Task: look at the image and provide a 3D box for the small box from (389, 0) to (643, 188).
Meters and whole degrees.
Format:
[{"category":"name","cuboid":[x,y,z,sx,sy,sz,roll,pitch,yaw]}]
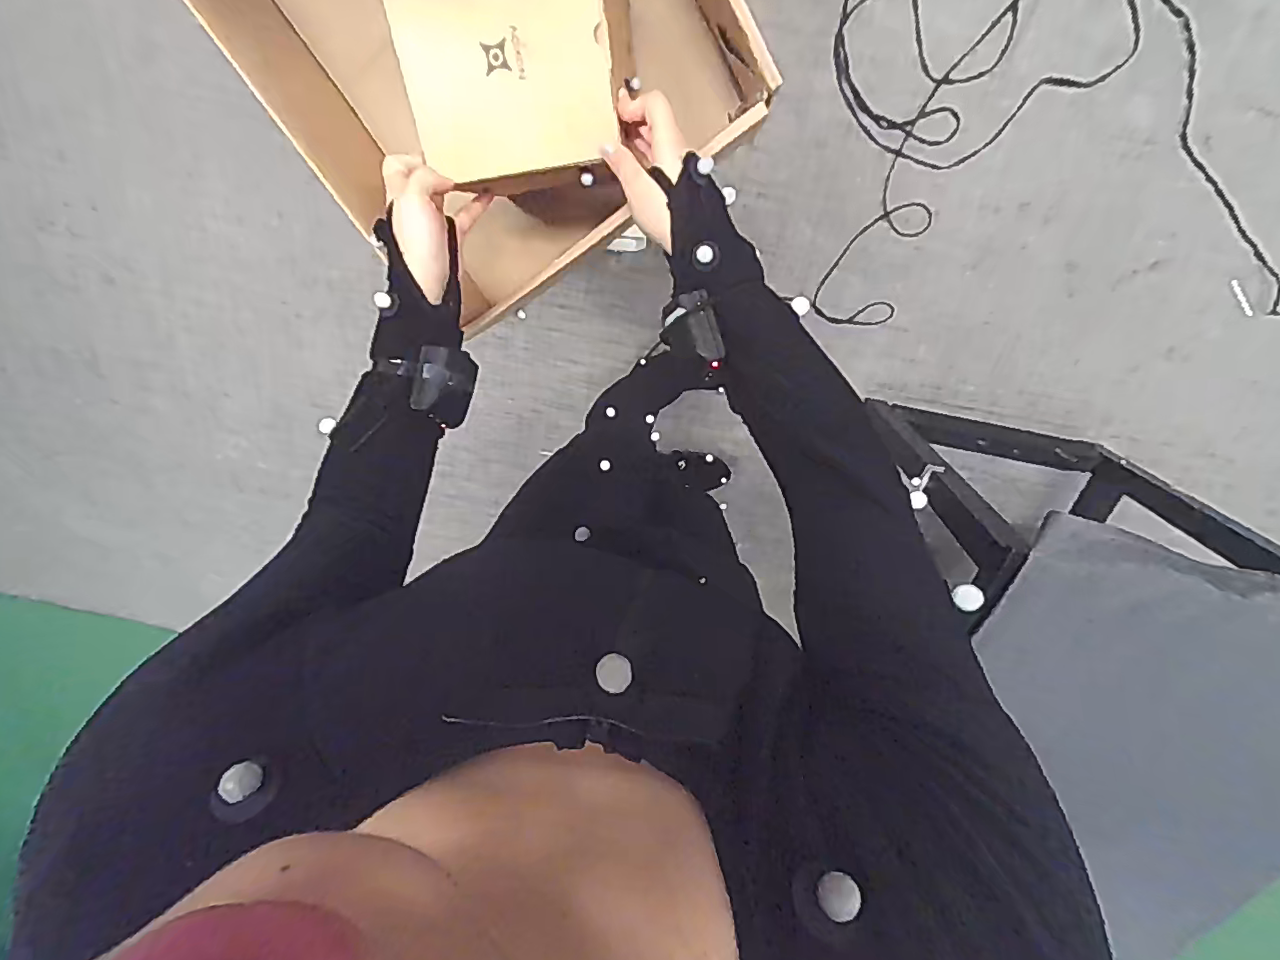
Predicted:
[{"category":"small box","cuboid":[-0.100,-0.381,0.509,0.179,0.176,0.168,-5,115,9]}]
